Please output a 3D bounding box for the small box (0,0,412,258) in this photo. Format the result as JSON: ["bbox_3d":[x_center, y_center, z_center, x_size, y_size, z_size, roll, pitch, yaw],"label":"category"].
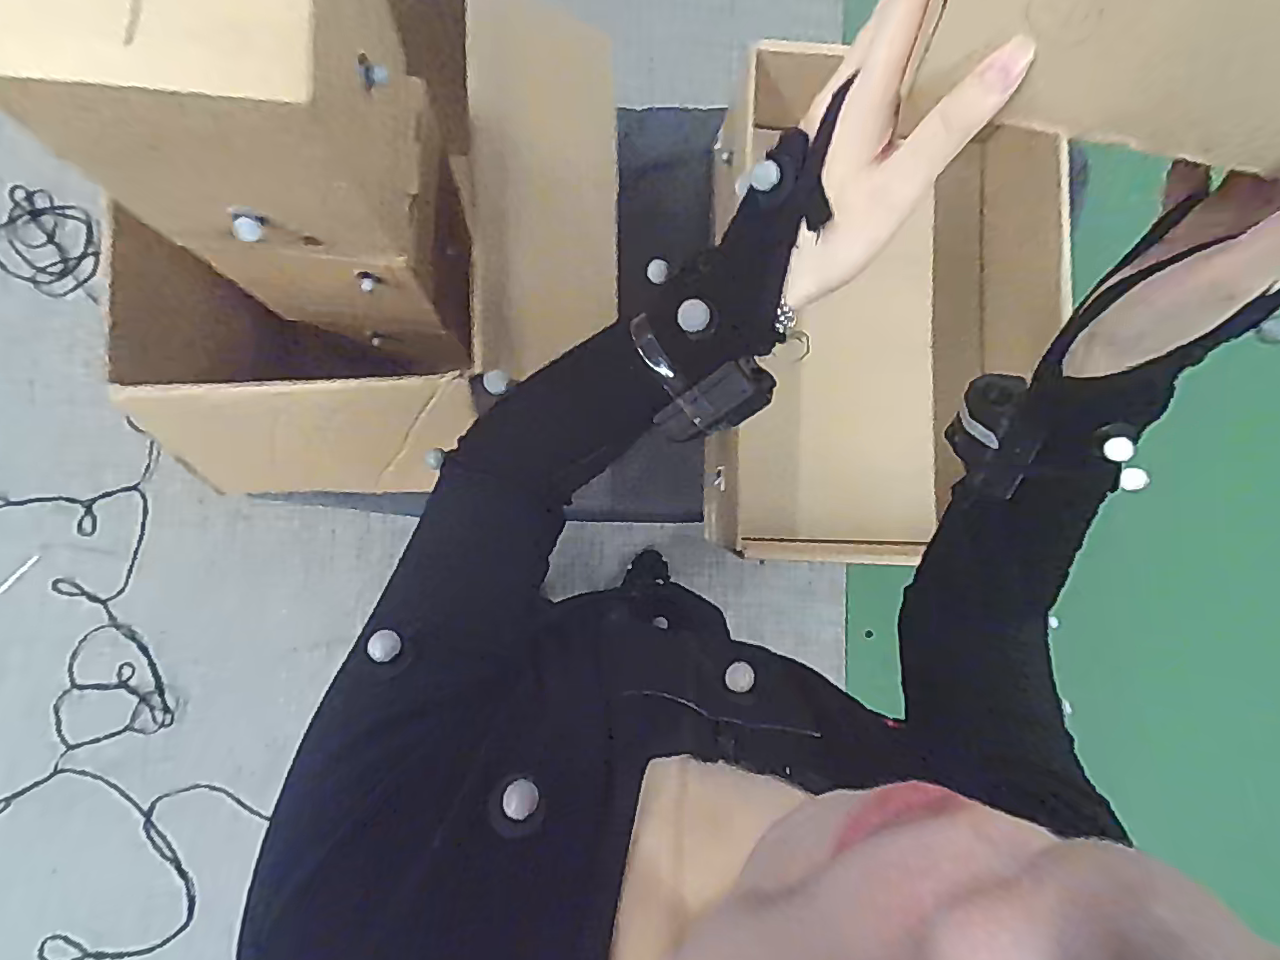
[{"bbox_3d":[-0.258,-0.275,0.357,0.168,0.176,0.179,0,86,-9],"label":"small box"}]
